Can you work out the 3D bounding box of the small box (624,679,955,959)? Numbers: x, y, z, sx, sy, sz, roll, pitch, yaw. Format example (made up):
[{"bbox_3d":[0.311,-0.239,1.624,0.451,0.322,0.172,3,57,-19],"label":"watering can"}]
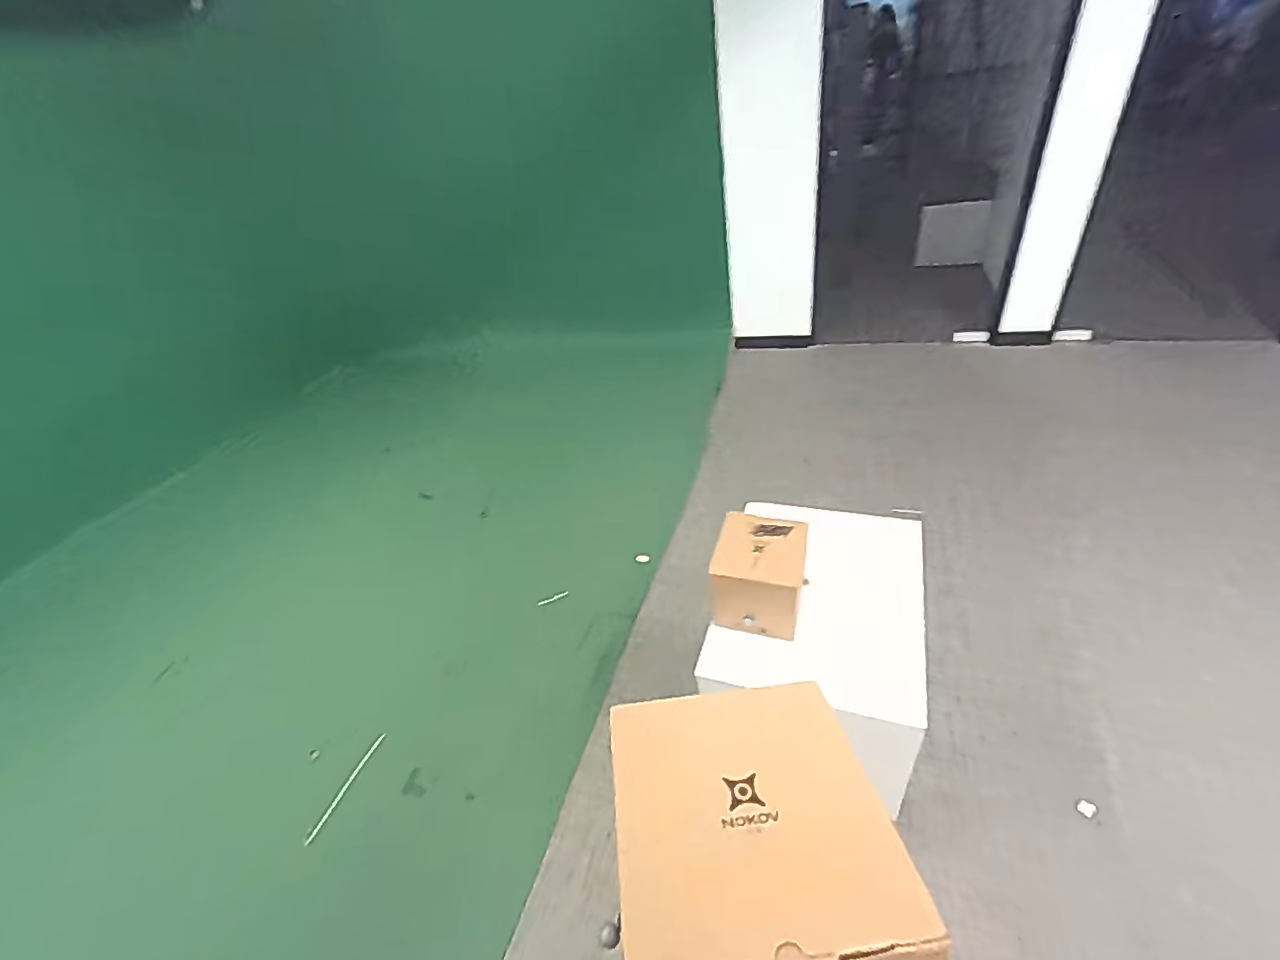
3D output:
[{"bbox_3d":[0.077,0.272,0.379,0.168,0.176,0.179,-5,25,-3],"label":"small box"}]

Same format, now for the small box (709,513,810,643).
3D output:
[{"bbox_3d":[0.241,0.193,1.085,0.168,0.176,0.179,7,42,21],"label":"small box"}]
